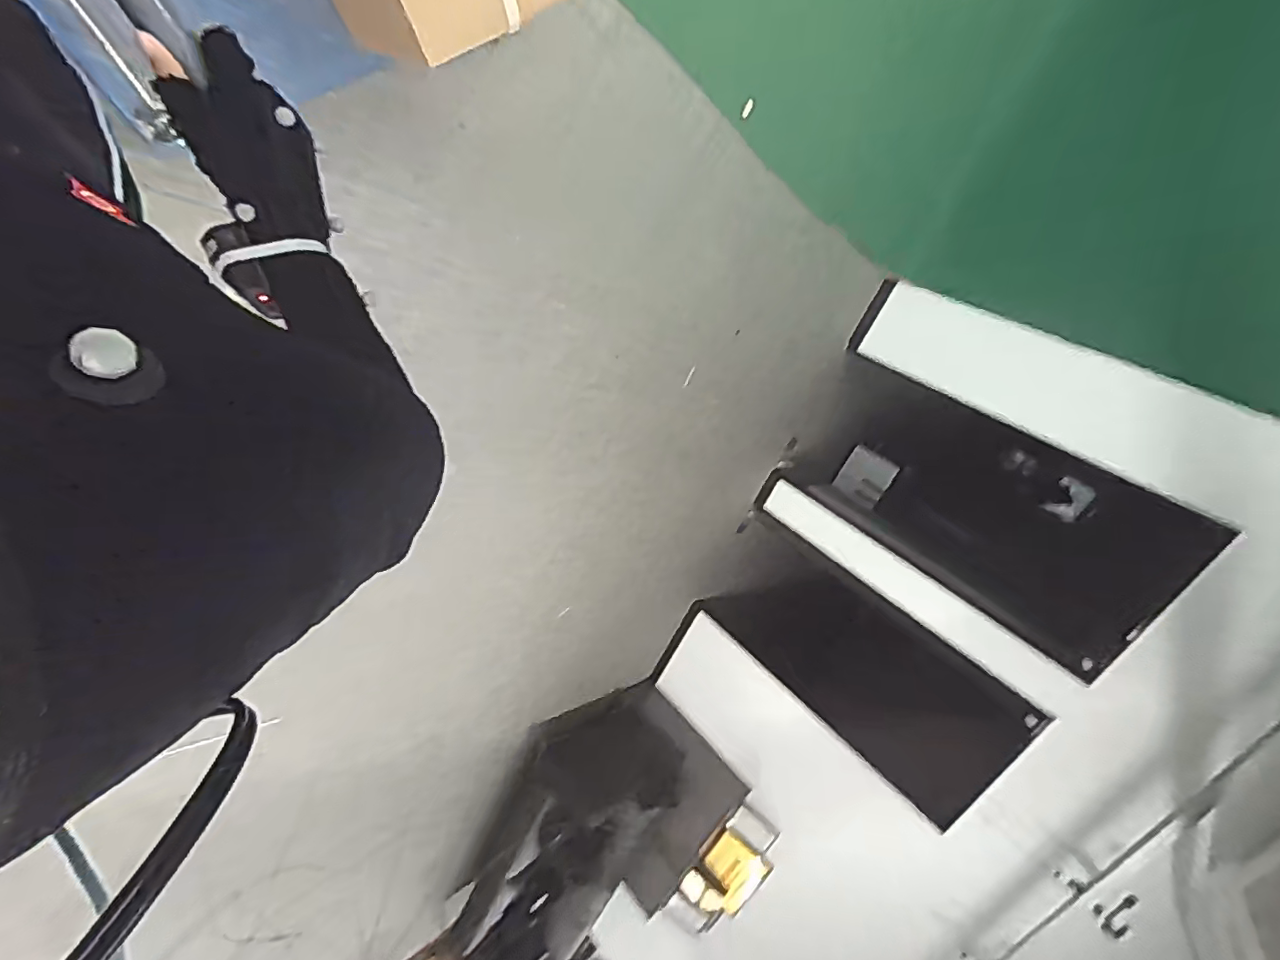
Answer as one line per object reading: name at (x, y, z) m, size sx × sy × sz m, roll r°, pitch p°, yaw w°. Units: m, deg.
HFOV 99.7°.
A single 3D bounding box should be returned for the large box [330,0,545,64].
large box at (-0.346, -0.896, 0.760) m, size 0.320 × 0.320 × 0.408 m, roll -41°, pitch 145°, yaw -15°
